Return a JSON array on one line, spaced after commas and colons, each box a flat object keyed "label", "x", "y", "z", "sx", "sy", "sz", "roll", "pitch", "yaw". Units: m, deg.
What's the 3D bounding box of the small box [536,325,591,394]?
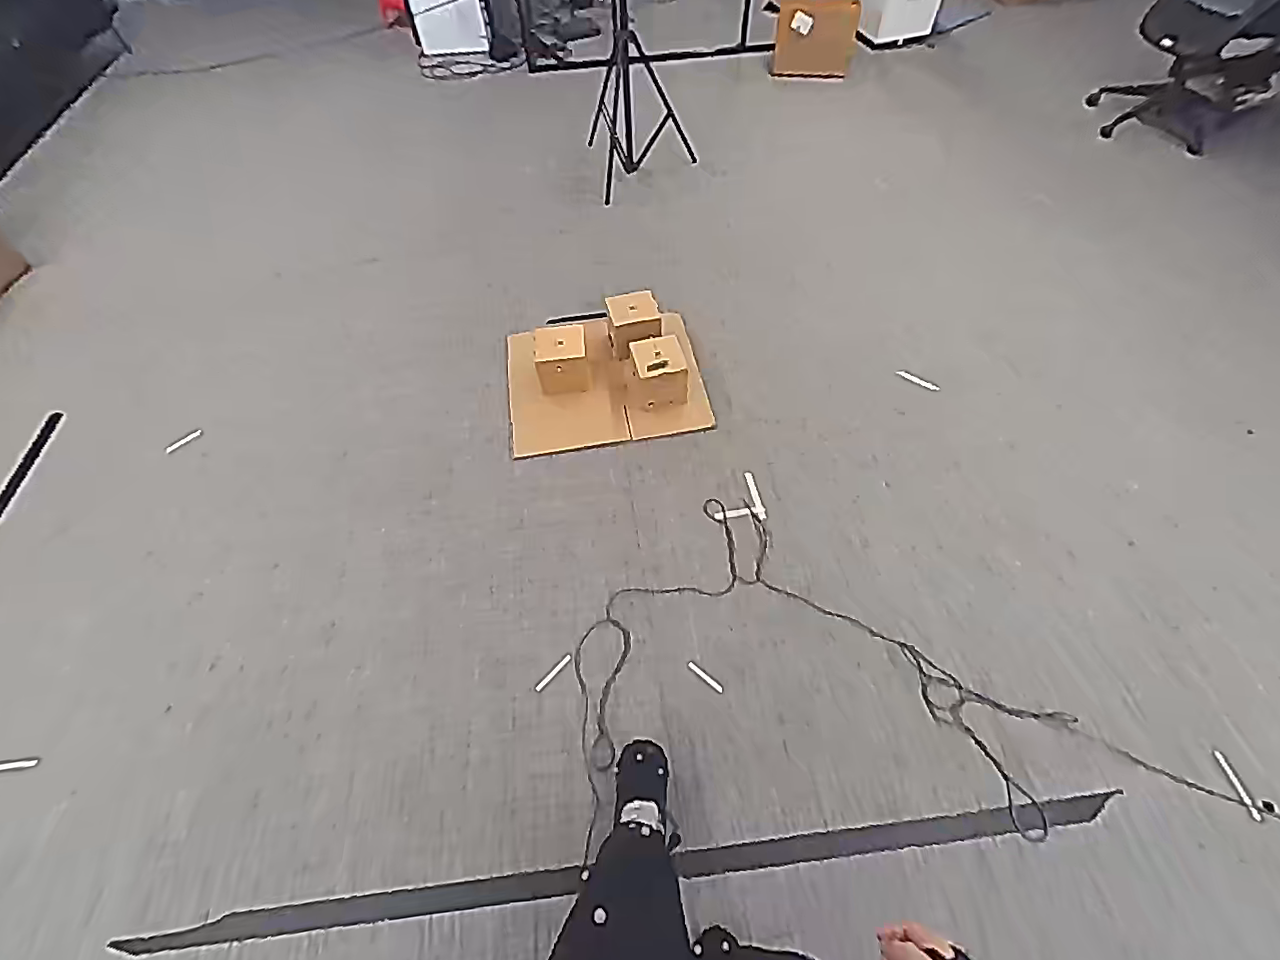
[{"label": "small box", "x": -0.267, "y": -0.424, "z": 1.922, "sx": 0.179, "sy": 0.176, "sz": 0.168, "roll": -6, "pitch": 57, "yaw": -1}]

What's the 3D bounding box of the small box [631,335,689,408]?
[{"label": "small box", "x": 0.069, "y": -0.368, "z": 1.872, "sx": 0.168, "sy": 0.176, "sz": 0.179, "roll": -12, "pitch": 57, "yaw": -5}]

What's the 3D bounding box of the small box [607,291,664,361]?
[{"label": "small box", "x": -0.016, "y": -0.570, "z": 2.012, "sx": 0.179, "sy": 0.176, "sz": 0.168, "roll": -13, "pitch": 56, "yaw": -6}]
